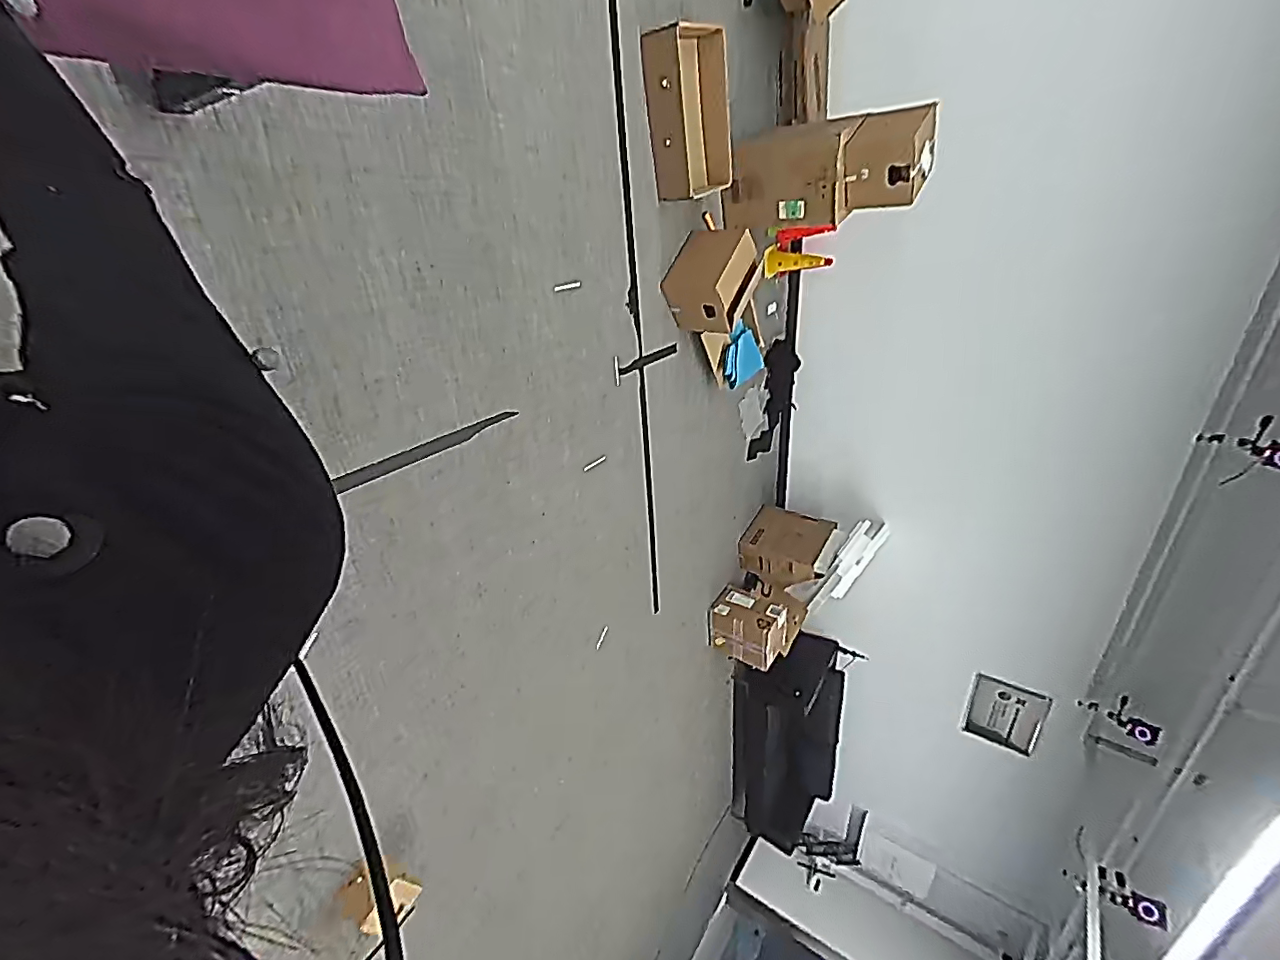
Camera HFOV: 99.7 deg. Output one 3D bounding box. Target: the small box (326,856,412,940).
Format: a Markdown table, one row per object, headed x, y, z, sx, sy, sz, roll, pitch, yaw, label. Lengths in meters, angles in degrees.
| x | y | z | sx | sy | sz | roll | pitch | yaw | label |
| --- | --- | --- | --- | --- | --- | --- | --- | --- | --- |
| -0.953 | 1.466 | 1.902 | 0.168 | 0.176 | 0.179 | -53 | 141 | -32 | small box |
